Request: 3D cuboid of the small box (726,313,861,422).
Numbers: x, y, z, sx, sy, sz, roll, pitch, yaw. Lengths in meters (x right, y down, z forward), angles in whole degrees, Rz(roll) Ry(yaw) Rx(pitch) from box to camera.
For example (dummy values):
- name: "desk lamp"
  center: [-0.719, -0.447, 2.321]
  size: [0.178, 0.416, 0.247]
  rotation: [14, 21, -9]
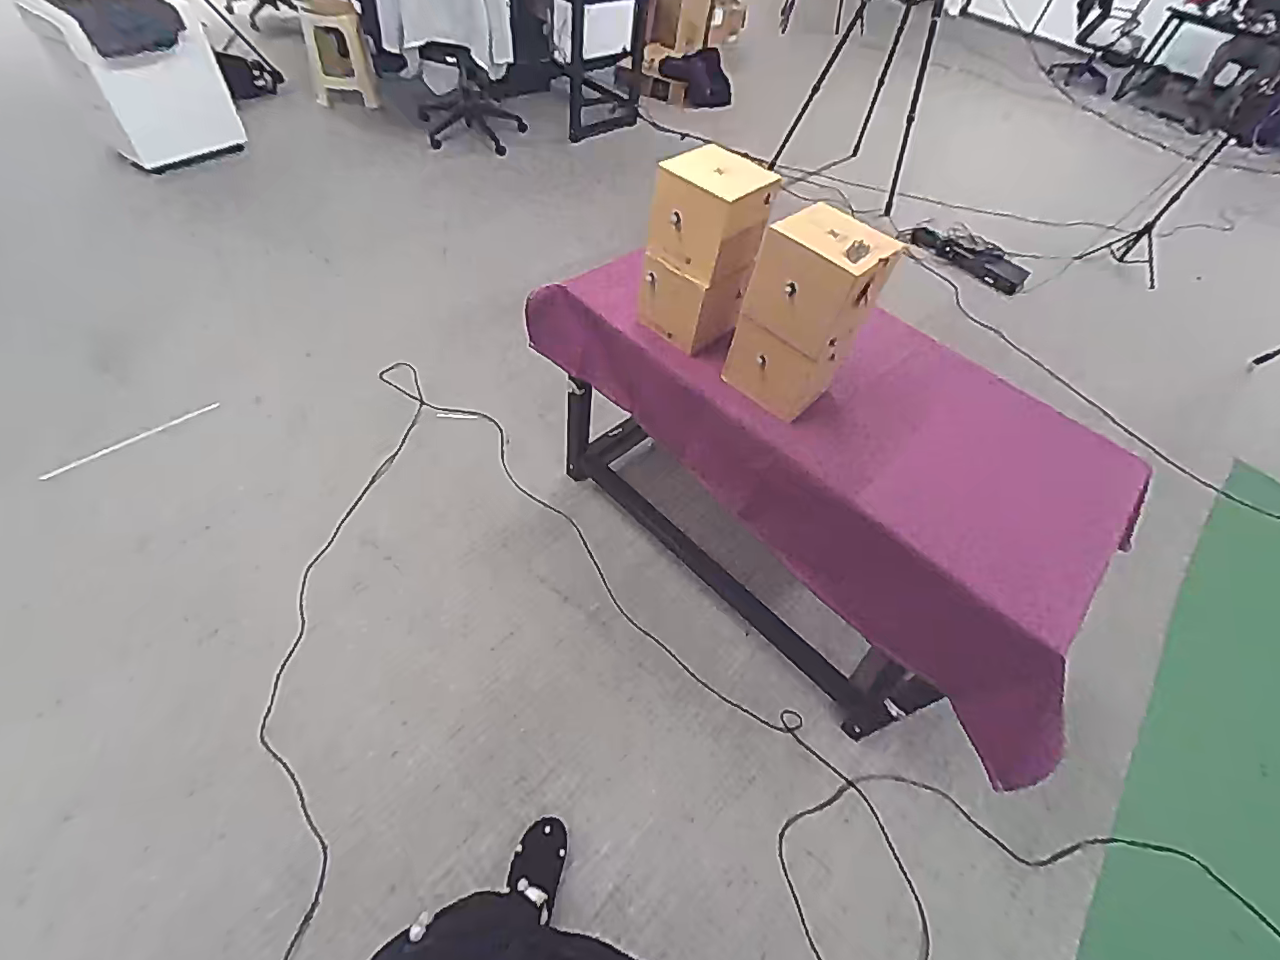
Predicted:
- name: "small box"
  center: [0.296, -0.249, 1.081]
  size: [0.179, 0.176, 0.168]
  rotation: [40, 58, 21]

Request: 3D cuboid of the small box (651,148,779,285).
- name: "small box"
  center: [0.137, -0.508, 1.050]
  size: [0.168, 0.176, 0.179]
  rotation: [37, 55, 19]

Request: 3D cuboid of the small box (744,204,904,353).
- name: "small box"
  center: [0.313, -0.346, 0.949]
  size: [0.168, 0.176, 0.179]
  rotation: [-35, 64, -30]
